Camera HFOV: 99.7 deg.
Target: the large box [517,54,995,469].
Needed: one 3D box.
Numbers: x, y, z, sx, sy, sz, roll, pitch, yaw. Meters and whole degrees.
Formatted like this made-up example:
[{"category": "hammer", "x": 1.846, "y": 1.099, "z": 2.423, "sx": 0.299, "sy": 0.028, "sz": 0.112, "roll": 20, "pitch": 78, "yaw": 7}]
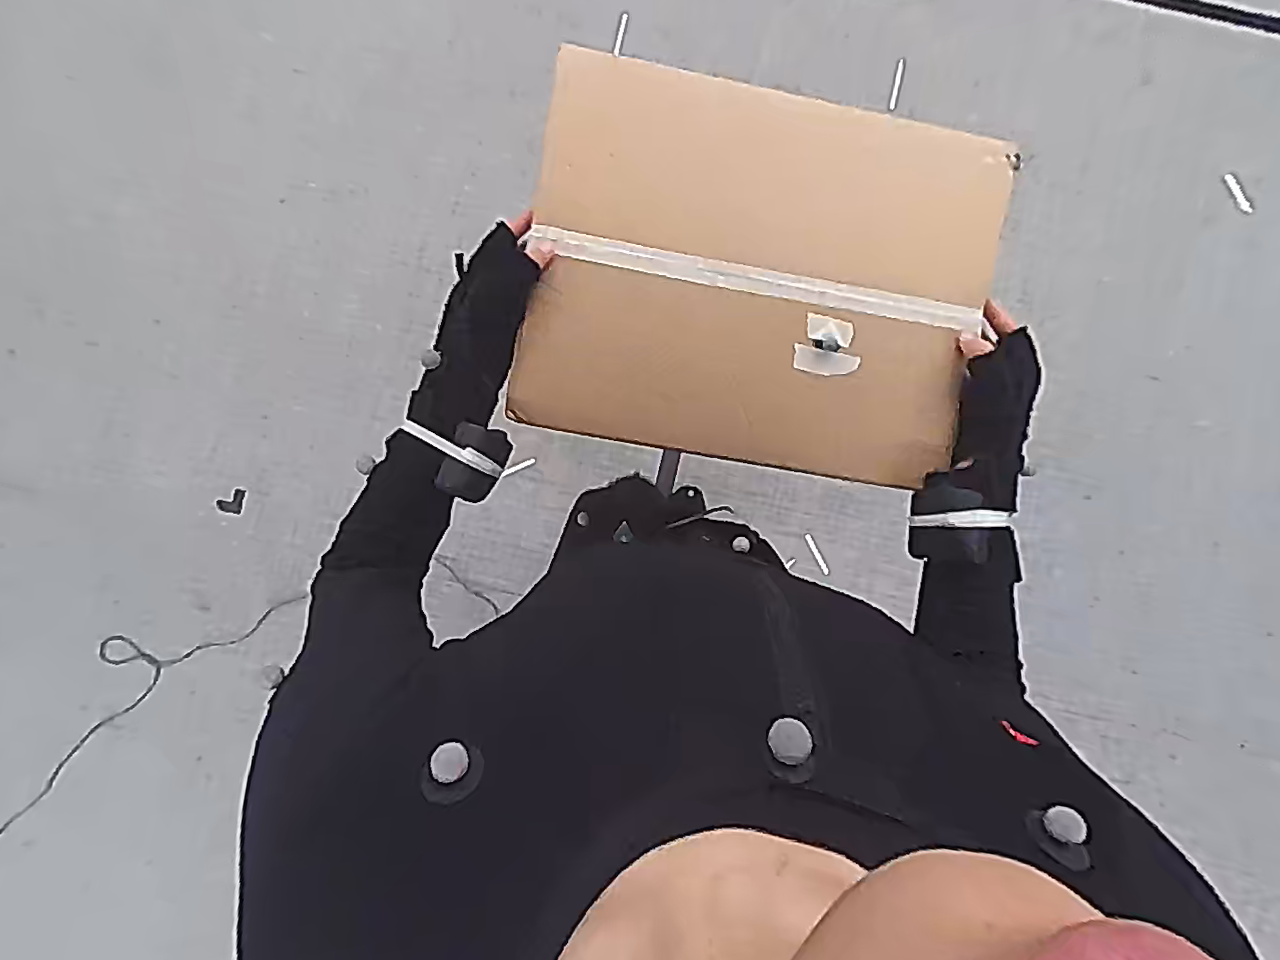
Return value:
[{"category": "large box", "x": 0.094, "y": -0.201, "z": 0.634, "sx": 0.408, "sy": 0.320, "sz": 0.320, "roll": 9, "pitch": 96, "yaw": -5}]
